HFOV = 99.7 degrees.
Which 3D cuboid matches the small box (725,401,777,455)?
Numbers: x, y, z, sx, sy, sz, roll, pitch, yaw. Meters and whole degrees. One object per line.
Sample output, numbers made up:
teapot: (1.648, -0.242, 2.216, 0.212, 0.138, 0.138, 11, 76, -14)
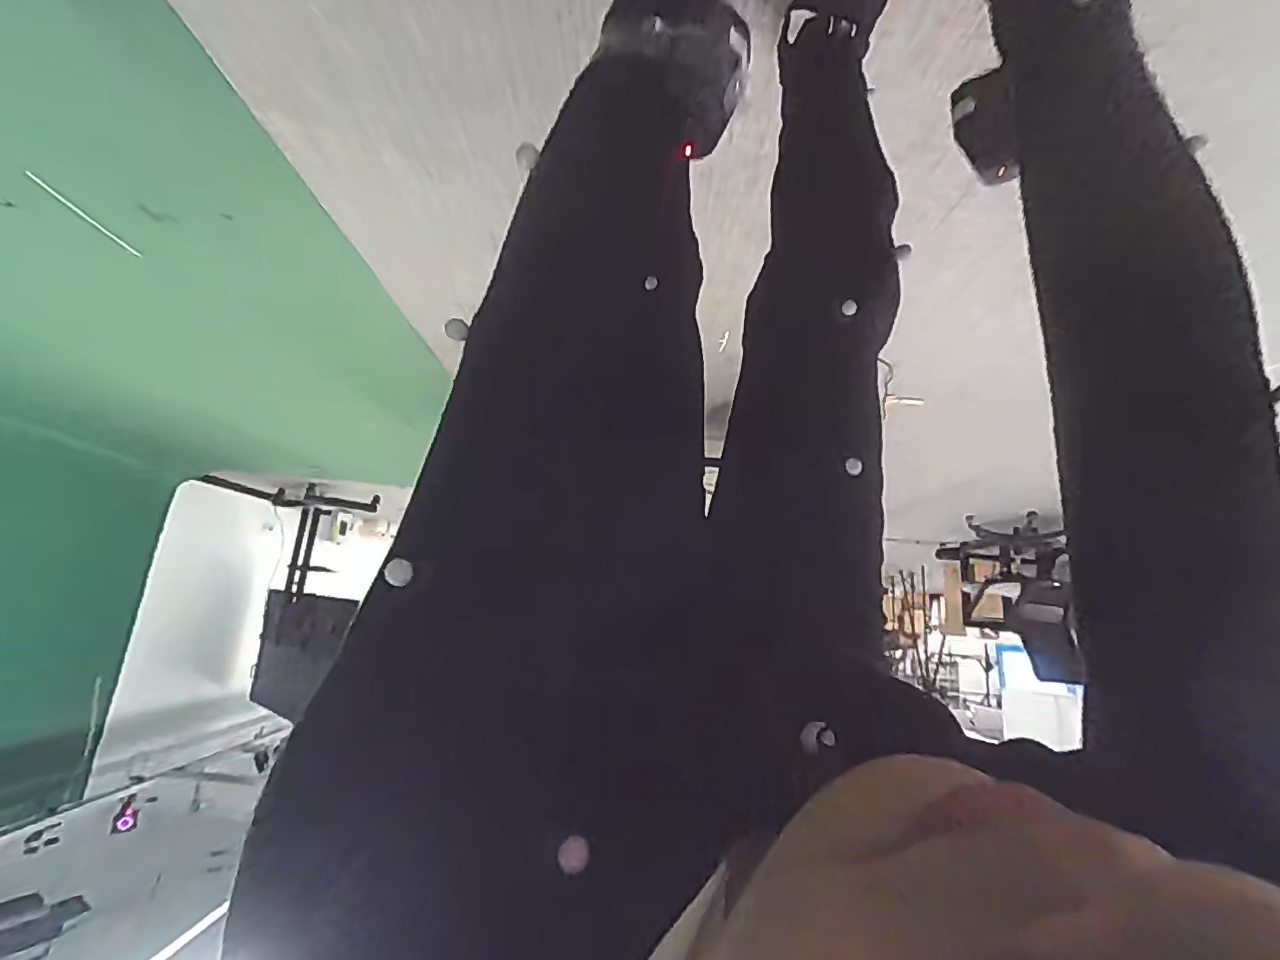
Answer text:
small box: (0.445, -0.208, 2.160, 0.179, 0.176, 0.168, 6, 167, 1)
